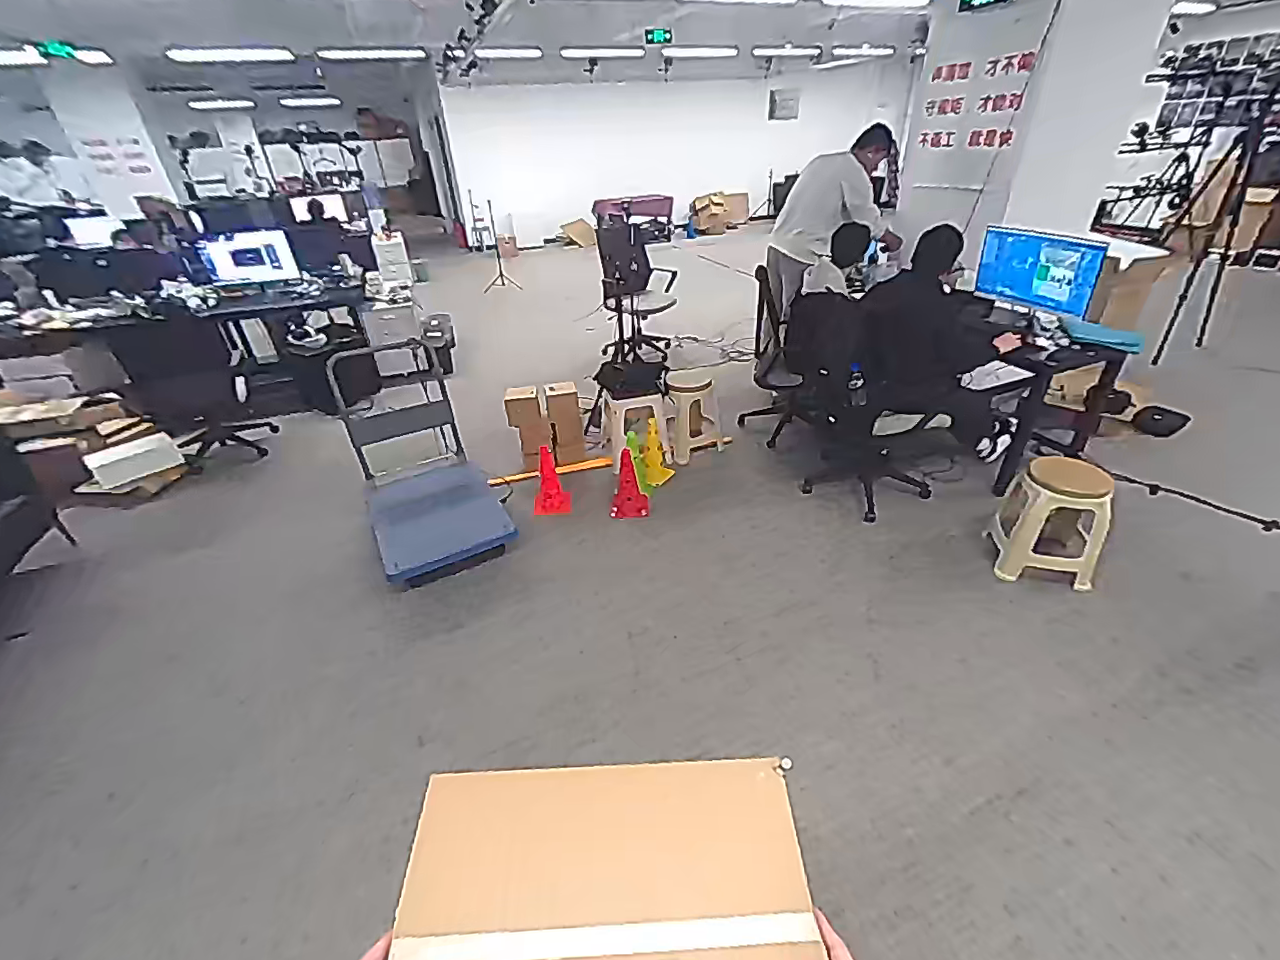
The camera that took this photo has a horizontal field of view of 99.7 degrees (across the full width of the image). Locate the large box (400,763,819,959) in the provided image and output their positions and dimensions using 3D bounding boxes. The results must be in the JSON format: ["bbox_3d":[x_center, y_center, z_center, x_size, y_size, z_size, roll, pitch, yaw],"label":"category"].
[{"bbox_3d":[-0.031,0.558,0.615,0.408,0.320,0.320,-2,41,-2],"label":"large box"}]
